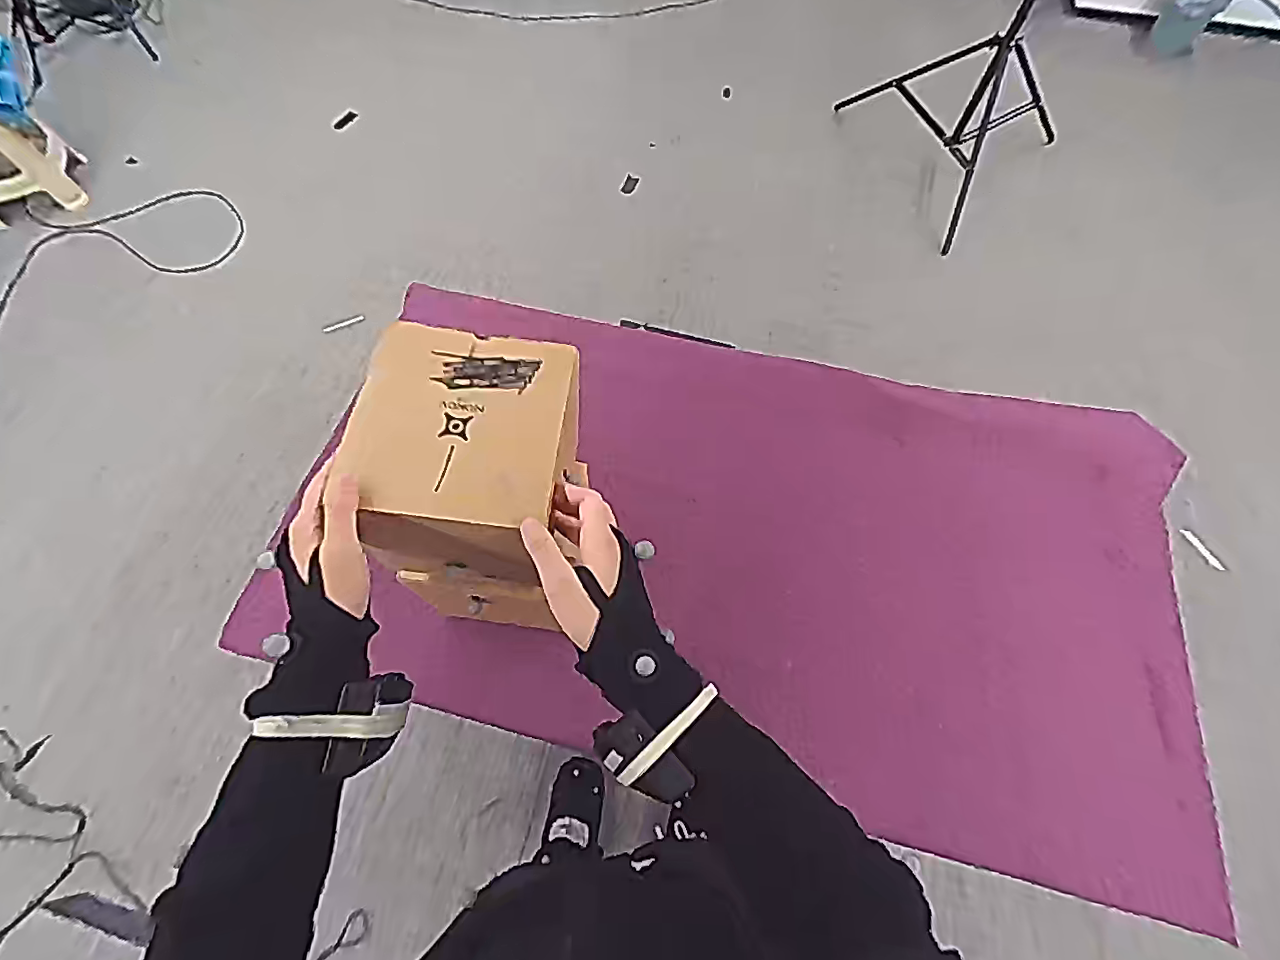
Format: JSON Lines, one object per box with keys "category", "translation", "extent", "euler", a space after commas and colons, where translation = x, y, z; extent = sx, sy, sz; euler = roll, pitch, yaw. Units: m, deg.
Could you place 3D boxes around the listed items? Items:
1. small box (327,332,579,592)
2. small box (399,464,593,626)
{"category": "small box", "translation": [-0.154, -0.008, 0.514], "extent": [0.168, 0.176, 0.179], "euler": [8, 64, -3]}
{"category": "small box", "translation": [-0.159, 0.078, 0.671], "extent": [0.179, 0.176, 0.168], "euler": [7, 64, 4]}
